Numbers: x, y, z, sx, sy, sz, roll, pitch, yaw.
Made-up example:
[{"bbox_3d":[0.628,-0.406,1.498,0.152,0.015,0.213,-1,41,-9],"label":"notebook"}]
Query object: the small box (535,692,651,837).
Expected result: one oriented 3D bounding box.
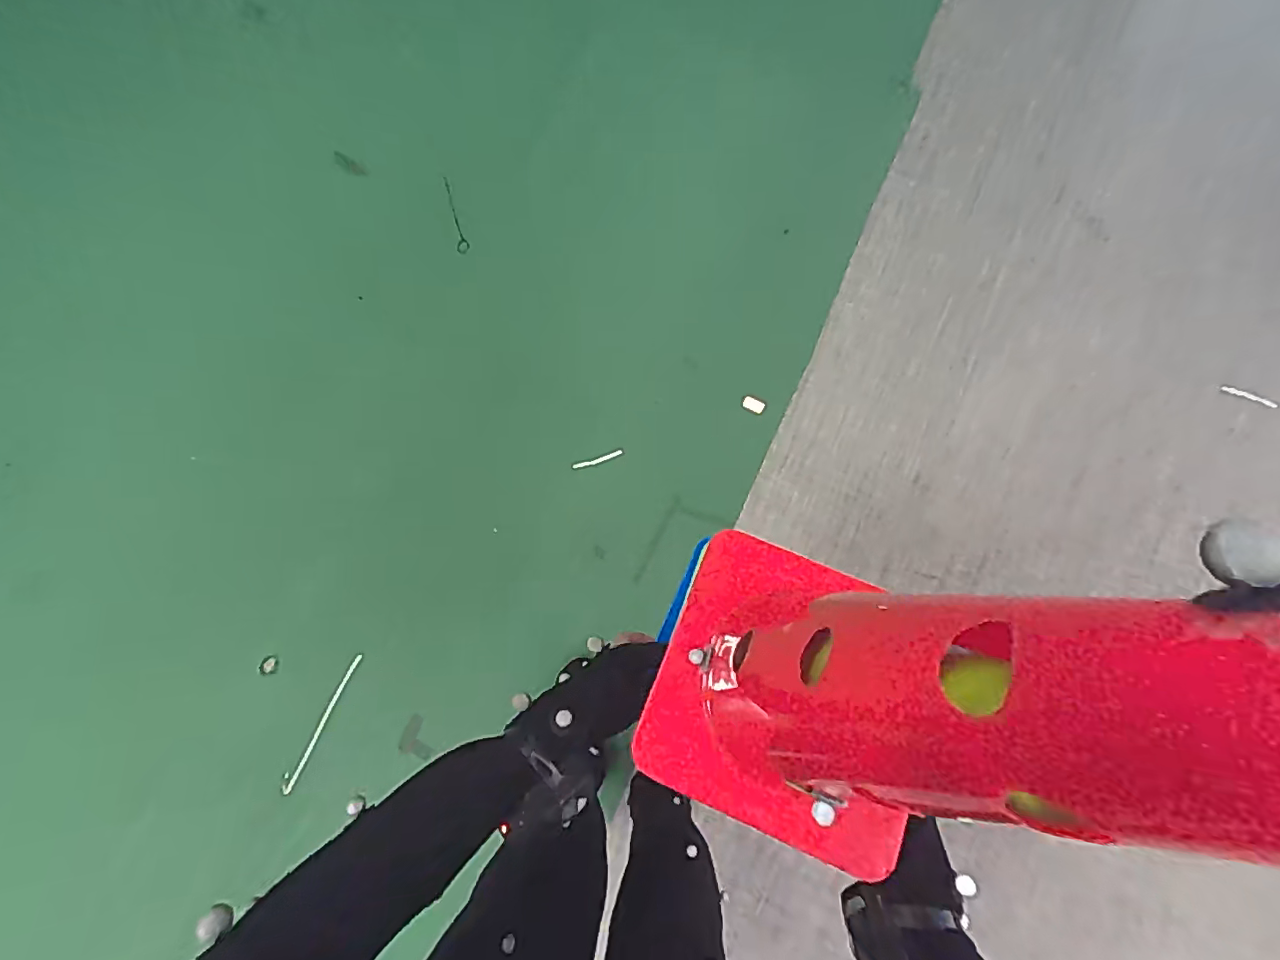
[{"bbox_3d":[-0.098,0.554,1.073,0.168,0.176,0.179,23,83,-10],"label":"small box"}]
